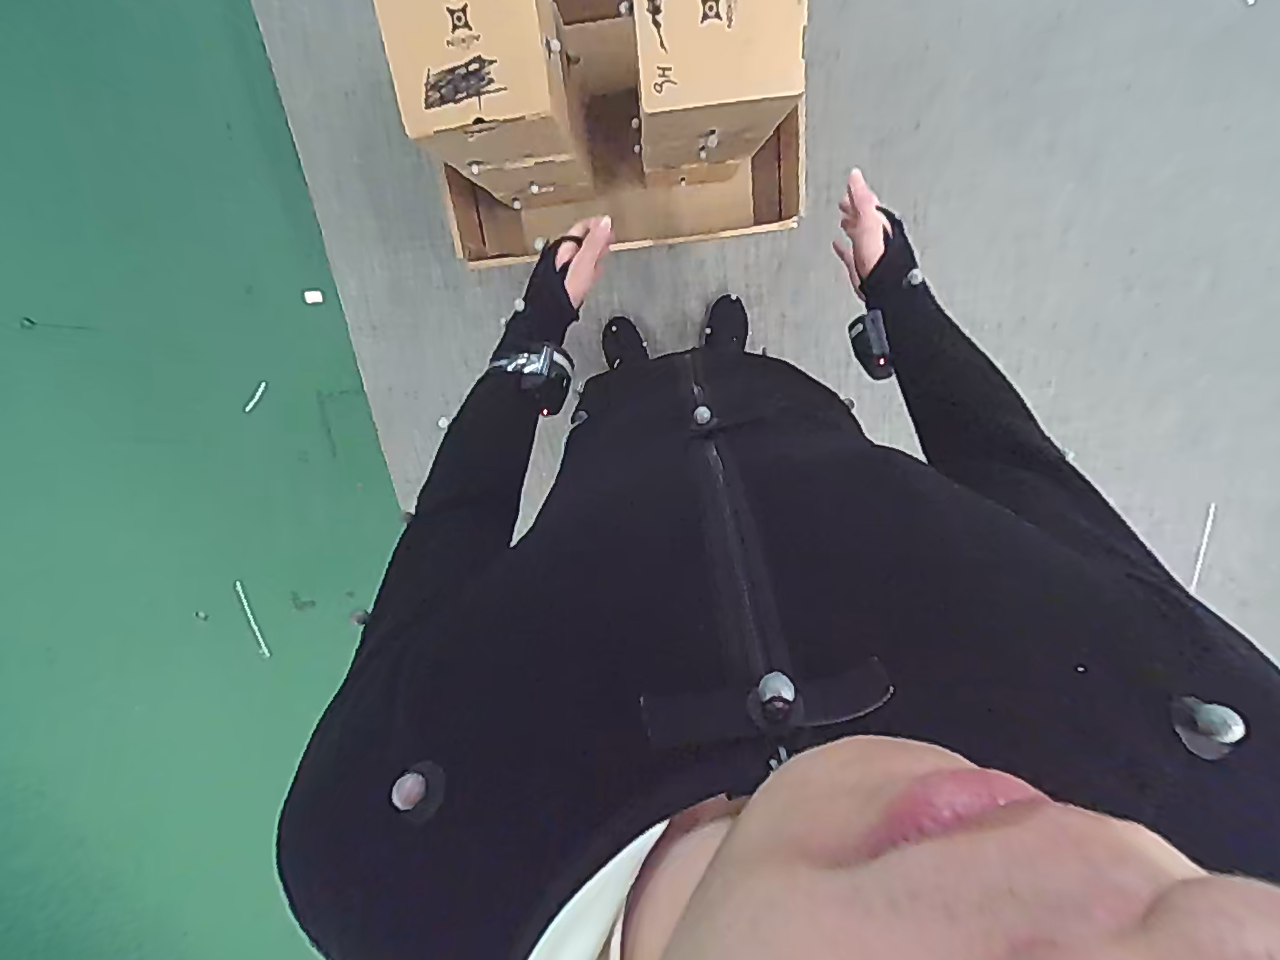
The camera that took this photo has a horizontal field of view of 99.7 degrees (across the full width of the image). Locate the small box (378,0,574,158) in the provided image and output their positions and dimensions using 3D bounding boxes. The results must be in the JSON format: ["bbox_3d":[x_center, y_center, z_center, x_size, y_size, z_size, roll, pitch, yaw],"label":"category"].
[{"bbox_3d":[-0.176,-0.489,0.621,0.168,0.176,0.179,-7,108,3],"label":"small box"}]

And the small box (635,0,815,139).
[{"bbox_3d":[0.087,-0.505,0.614,0.179,0.176,0.168,-5,111,2],"label":"small box"}]

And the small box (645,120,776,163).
[{"bbox_3d":[0.090,-0.563,0.767,0.179,0.176,0.168,-4,111,2],"label":"small box"}]

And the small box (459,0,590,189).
[{"bbox_3d":[-0.169,-0.538,0.778,0.168,0.176,0.179,-5,109,3],"label":"small box"}]
